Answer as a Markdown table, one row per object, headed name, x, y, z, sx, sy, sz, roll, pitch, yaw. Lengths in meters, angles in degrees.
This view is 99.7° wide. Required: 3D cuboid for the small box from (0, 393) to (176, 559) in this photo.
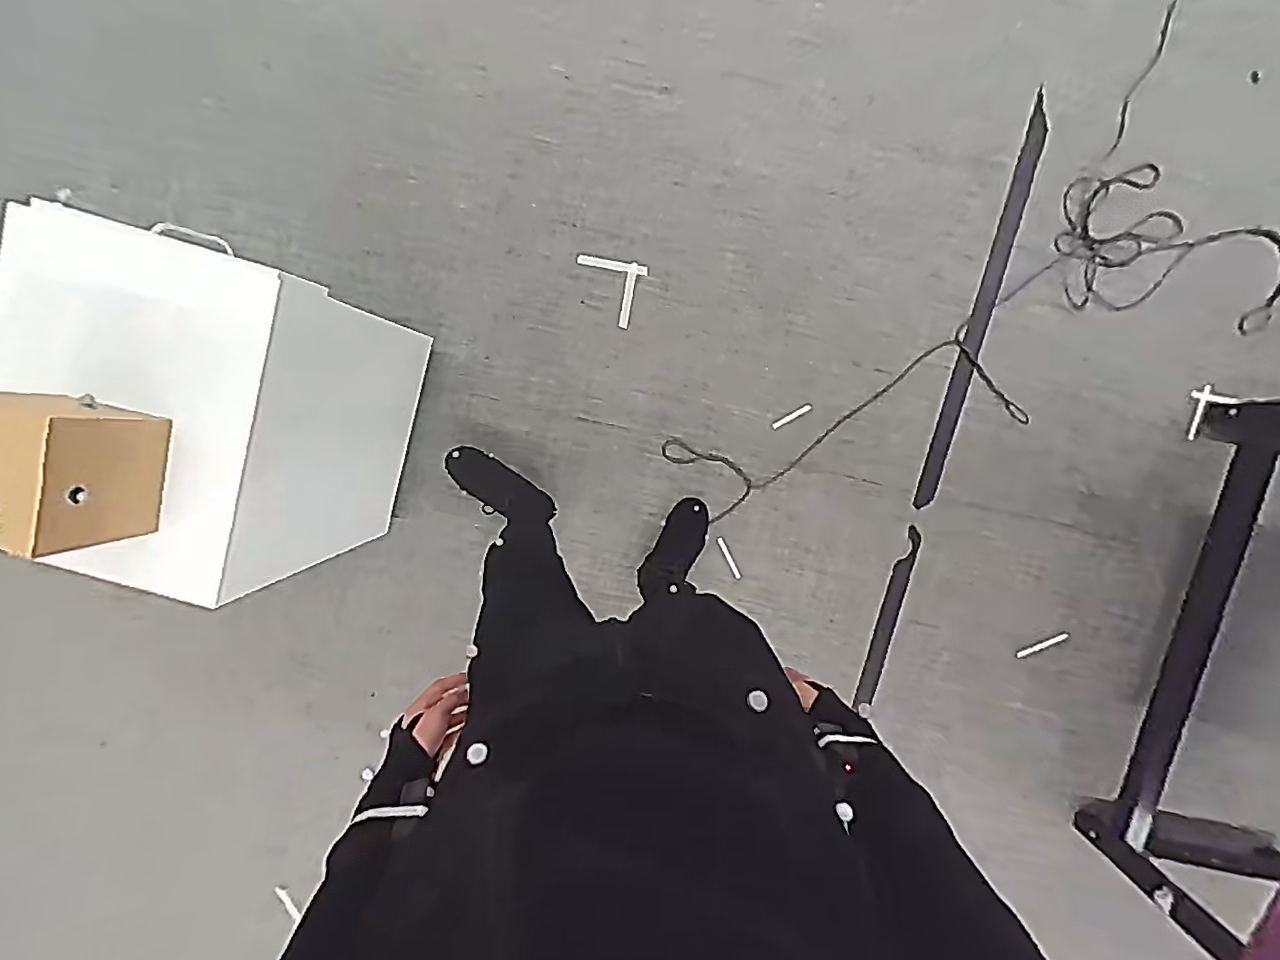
| name | x | y | z | sx | sy | sz | roll | pitch | yaw |
| --- | --- | --- | --- | --- | --- | --- | --- | --- | --- |
| small box | -0.779 | -0.013 | 0.727 | 0.168 | 0.176 | 0.179 | 13 | 95 | -1 |
